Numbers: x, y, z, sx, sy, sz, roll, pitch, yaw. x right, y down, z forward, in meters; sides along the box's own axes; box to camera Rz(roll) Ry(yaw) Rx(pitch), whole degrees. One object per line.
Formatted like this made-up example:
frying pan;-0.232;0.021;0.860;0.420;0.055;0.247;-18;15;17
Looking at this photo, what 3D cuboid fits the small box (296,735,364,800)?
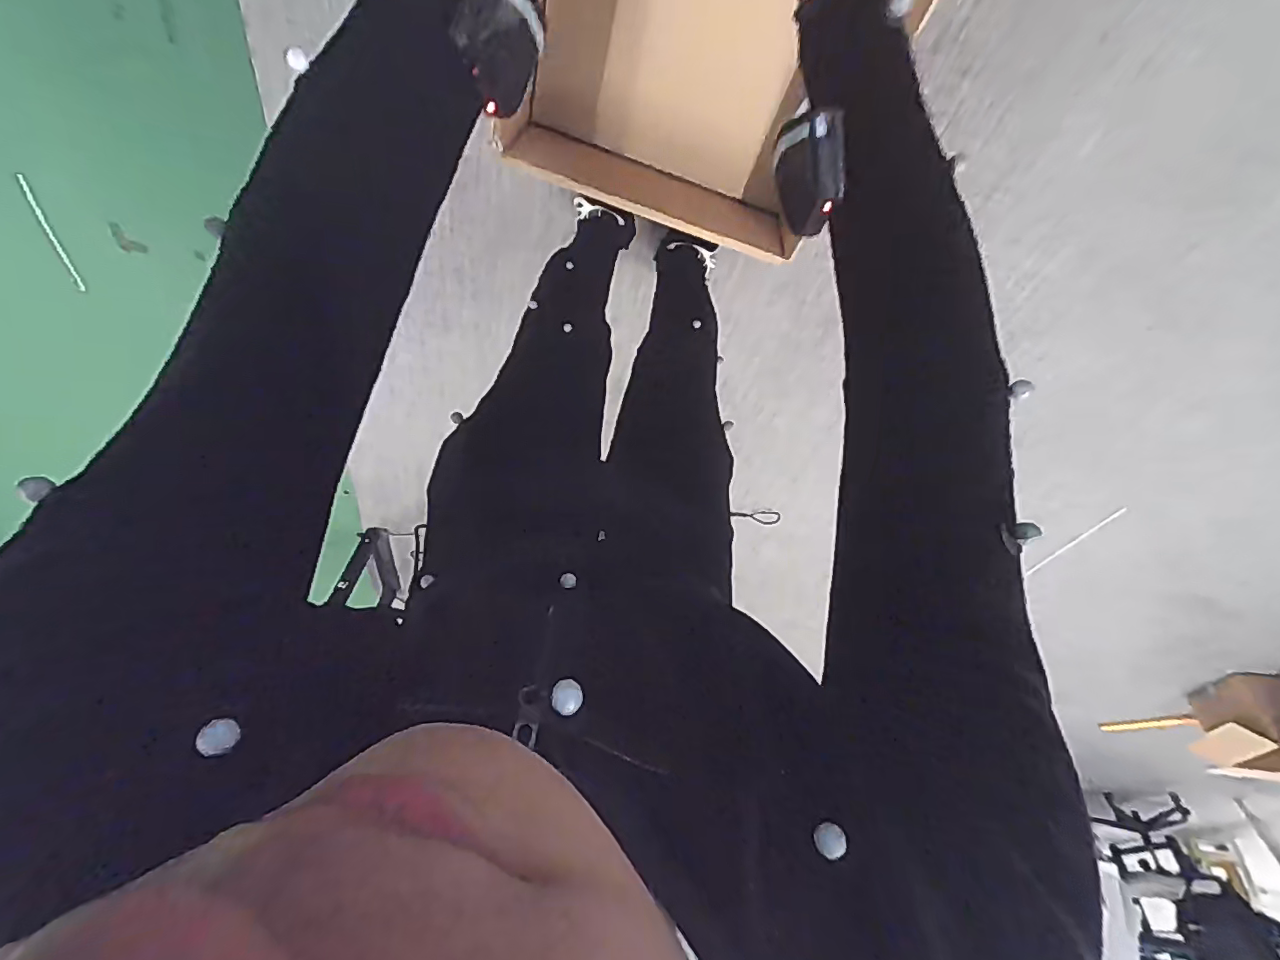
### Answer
small box;-1.168;1.092;2.054;0.168;0.176;0.179;16;137;-9
